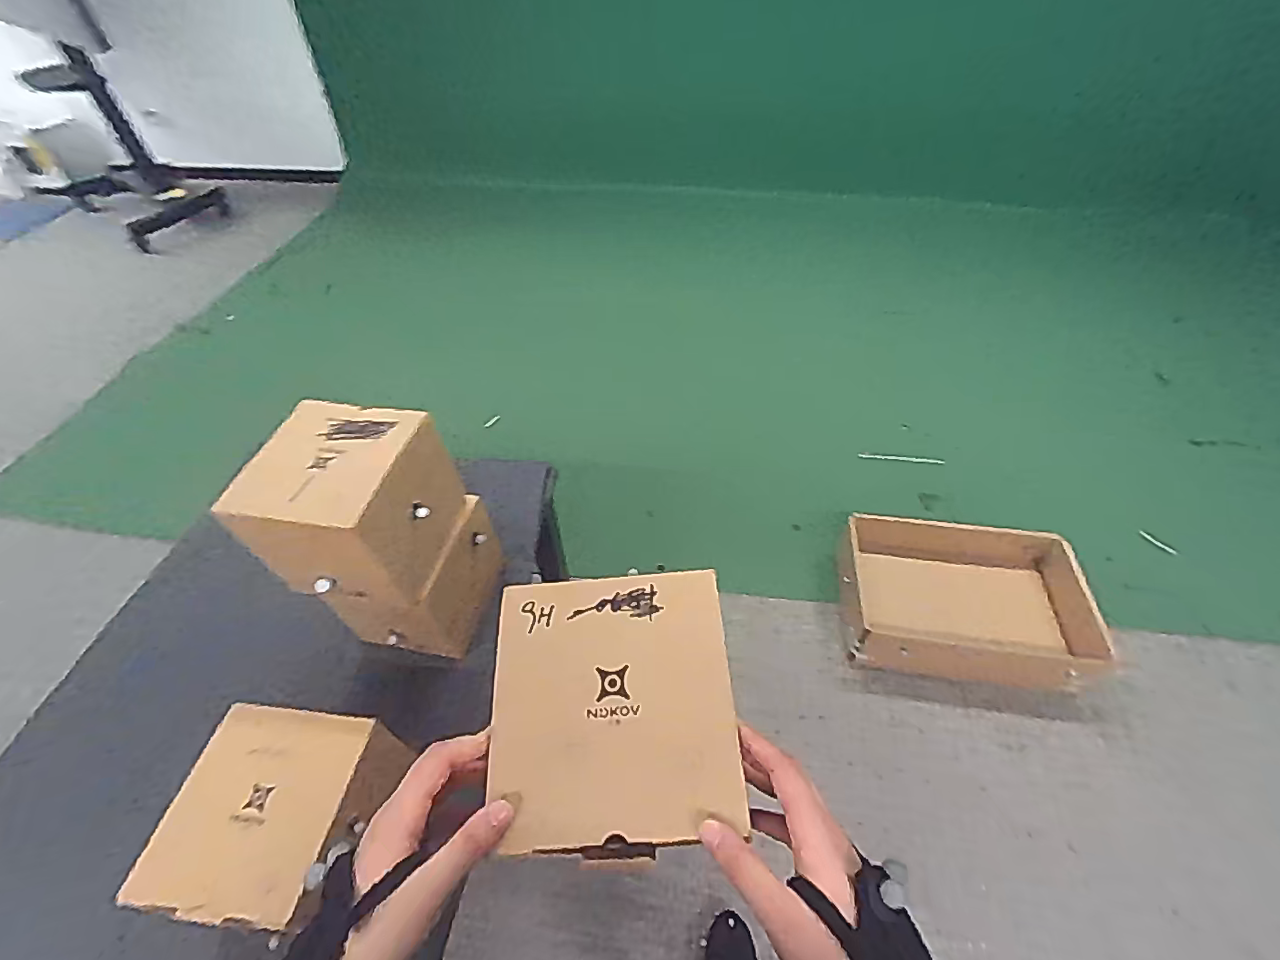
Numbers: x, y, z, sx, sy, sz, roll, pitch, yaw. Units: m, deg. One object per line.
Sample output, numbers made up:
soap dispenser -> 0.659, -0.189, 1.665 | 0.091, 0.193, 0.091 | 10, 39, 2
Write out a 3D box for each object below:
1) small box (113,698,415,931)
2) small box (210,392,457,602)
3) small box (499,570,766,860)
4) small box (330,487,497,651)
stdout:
small box -> -0.366, 0.357, 0.574 | 0.168, 0.176, 0.179 | 4, 48, 4
small box -> -0.339, 0.021, 0.647 | 0.168, 0.176, 0.179 | 7, 51, 8
small box -> -0.002, 0.187, 0.432 | 0.168, 0.176, 0.179 | -4, 59, 2
small box -> -0.321, 0.119, 0.778 | 0.168, 0.176, 0.179 | 8, 50, 9
